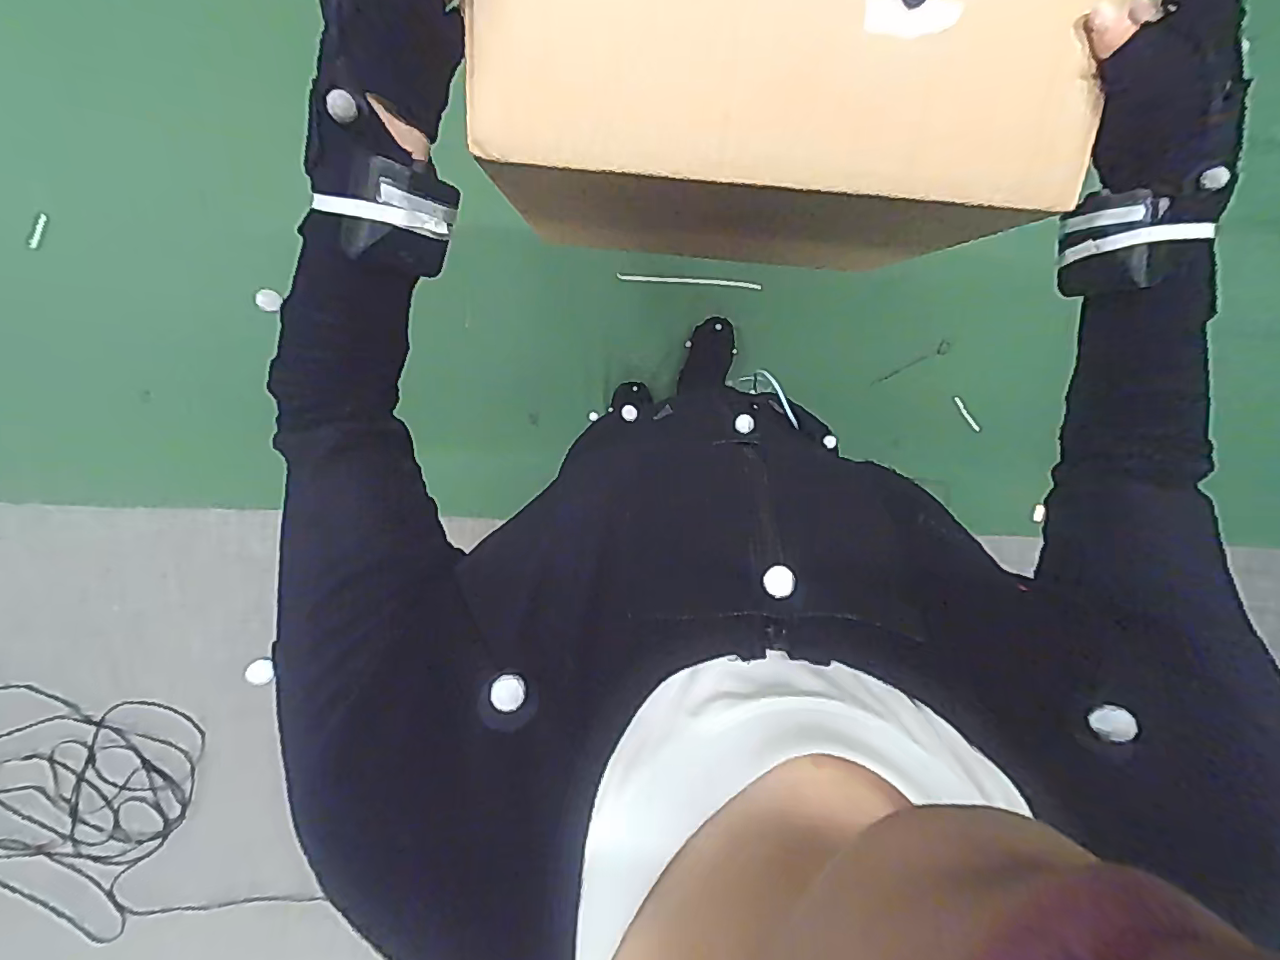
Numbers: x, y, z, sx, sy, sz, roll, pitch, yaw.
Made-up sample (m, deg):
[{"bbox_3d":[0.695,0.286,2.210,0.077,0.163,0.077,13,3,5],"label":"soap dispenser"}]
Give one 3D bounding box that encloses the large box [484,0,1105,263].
[{"bbox_3d":[0.097,-0.386,0.477,0.408,0.320,0.320,3,105,-2],"label":"large box"}]
